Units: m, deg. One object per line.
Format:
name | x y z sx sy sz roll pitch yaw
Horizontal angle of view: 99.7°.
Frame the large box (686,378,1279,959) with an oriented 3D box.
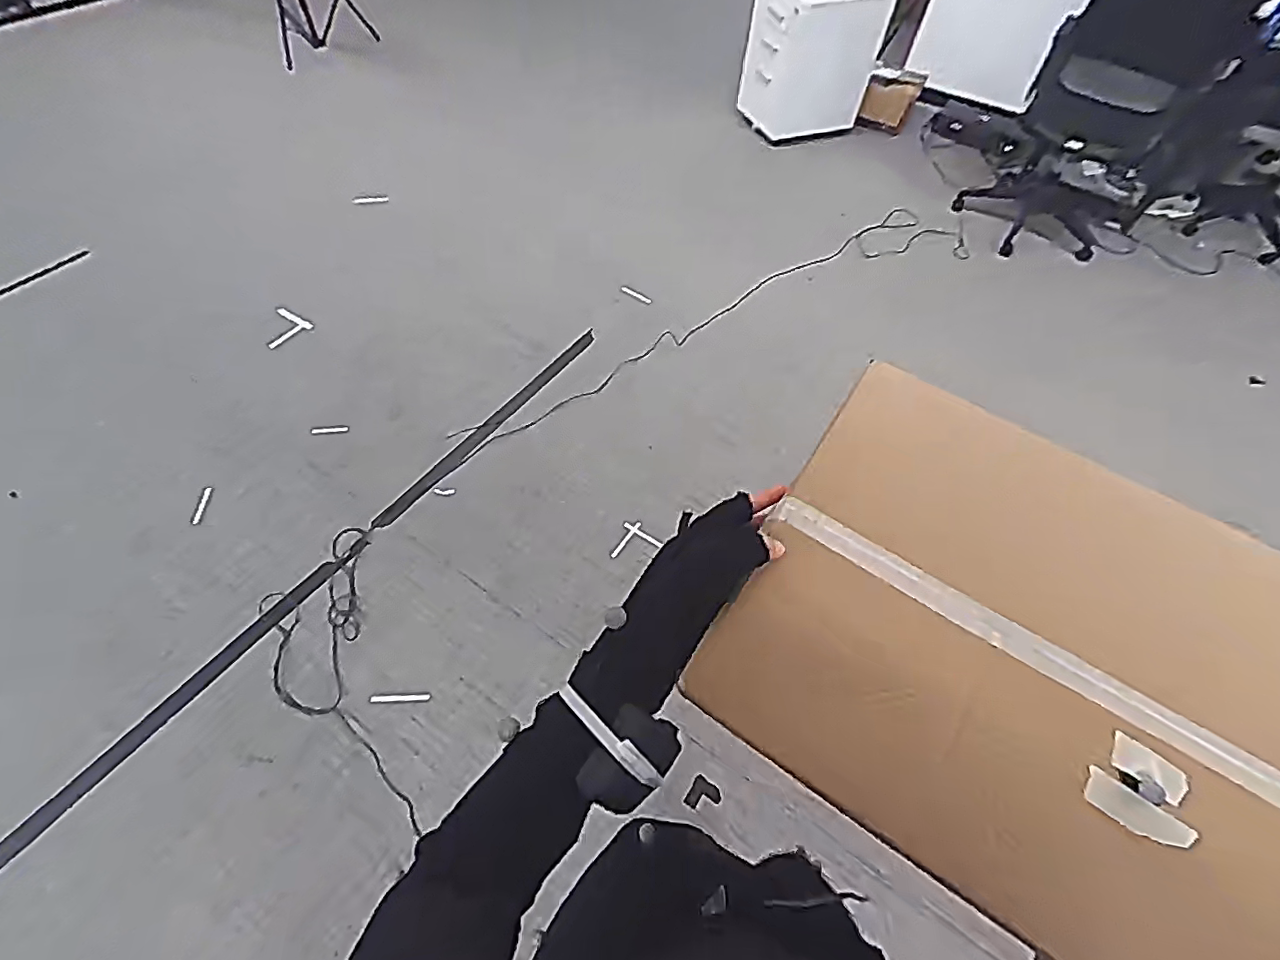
large box | 0.290 0.178 0.516 0.408 0.320 0.320 32 76 15
